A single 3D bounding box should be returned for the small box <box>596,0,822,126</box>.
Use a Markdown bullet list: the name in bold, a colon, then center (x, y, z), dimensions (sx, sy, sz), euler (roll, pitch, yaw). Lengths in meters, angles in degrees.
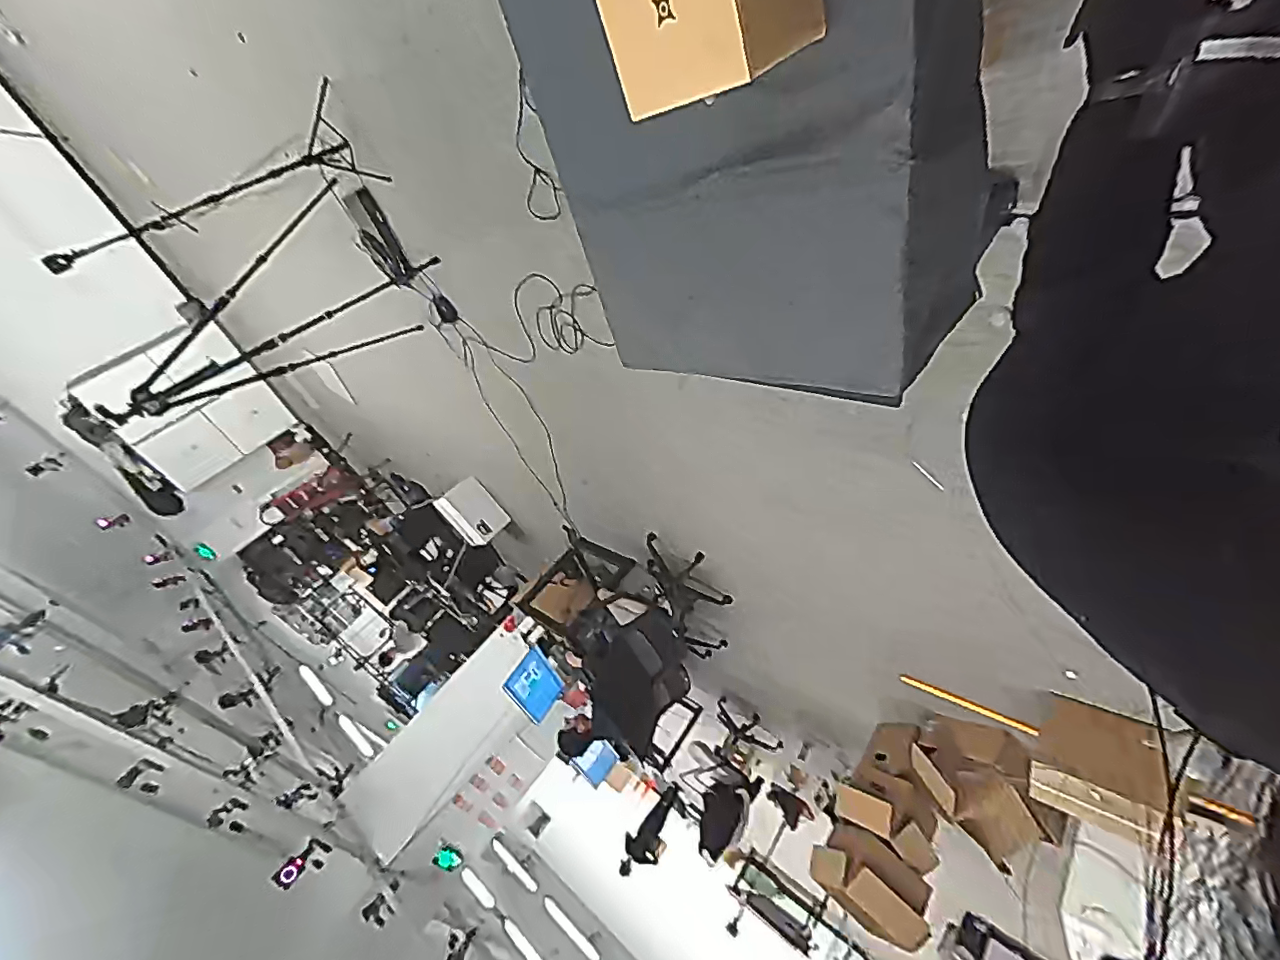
- **small box**: center (0.074, -0.517, 0.571), dimensions (0.168, 0.176, 0.179), euler (15, 142, 42)
